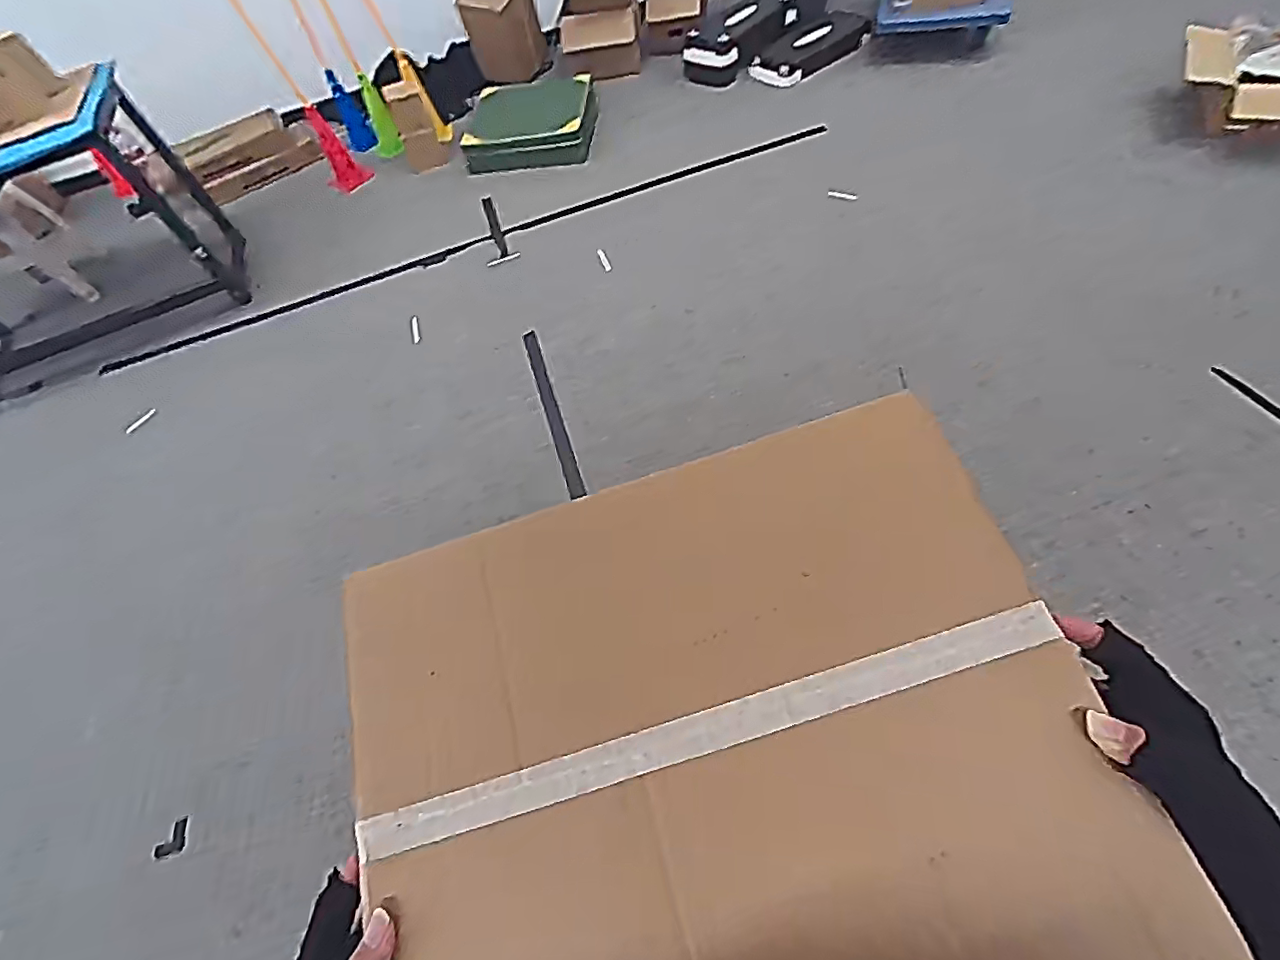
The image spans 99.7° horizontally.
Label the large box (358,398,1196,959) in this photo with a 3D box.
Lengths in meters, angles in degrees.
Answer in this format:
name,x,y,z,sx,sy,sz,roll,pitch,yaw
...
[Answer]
name,x,y,z,sx,sy,sz,roll,pitch,yaw
large box,0.057,0.192,0.450,0.408,0.320,0.320,-19,67,2
